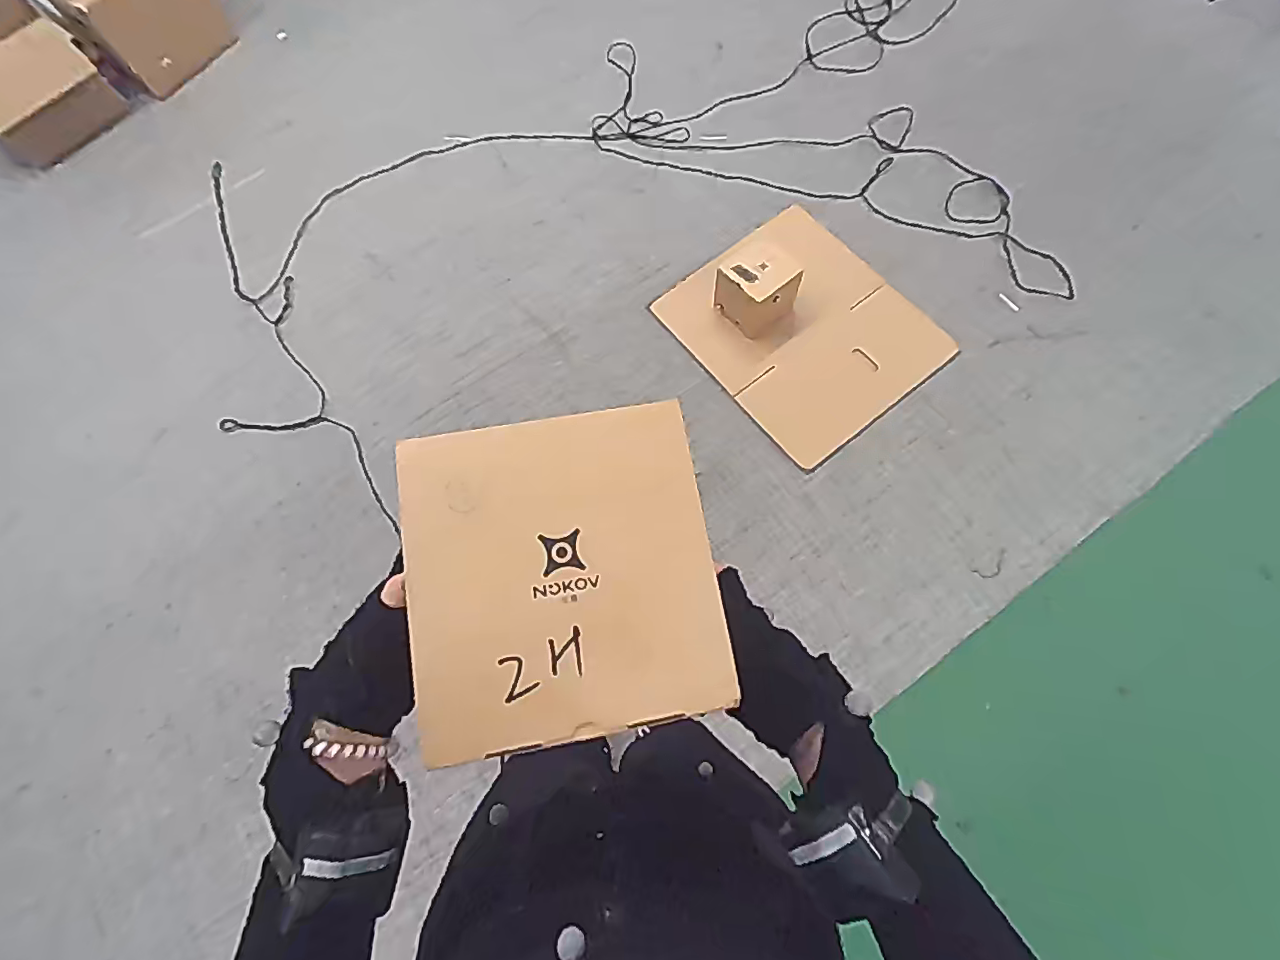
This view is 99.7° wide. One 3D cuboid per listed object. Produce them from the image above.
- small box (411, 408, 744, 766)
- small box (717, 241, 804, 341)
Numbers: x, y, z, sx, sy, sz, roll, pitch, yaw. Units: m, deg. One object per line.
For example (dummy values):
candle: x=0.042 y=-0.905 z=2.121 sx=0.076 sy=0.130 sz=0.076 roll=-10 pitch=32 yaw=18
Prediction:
small box: x=-0.044 y=0.069 z=0.374 sx=0.168 sy=0.176 sz=0.179 roll=-9 pitch=77 yaw=-6
small box: x=0.336 y=-0.535 z=1.551 sx=0.179 sy=0.176 sz=0.168 roll=-38 pitch=73 yaw=-10
